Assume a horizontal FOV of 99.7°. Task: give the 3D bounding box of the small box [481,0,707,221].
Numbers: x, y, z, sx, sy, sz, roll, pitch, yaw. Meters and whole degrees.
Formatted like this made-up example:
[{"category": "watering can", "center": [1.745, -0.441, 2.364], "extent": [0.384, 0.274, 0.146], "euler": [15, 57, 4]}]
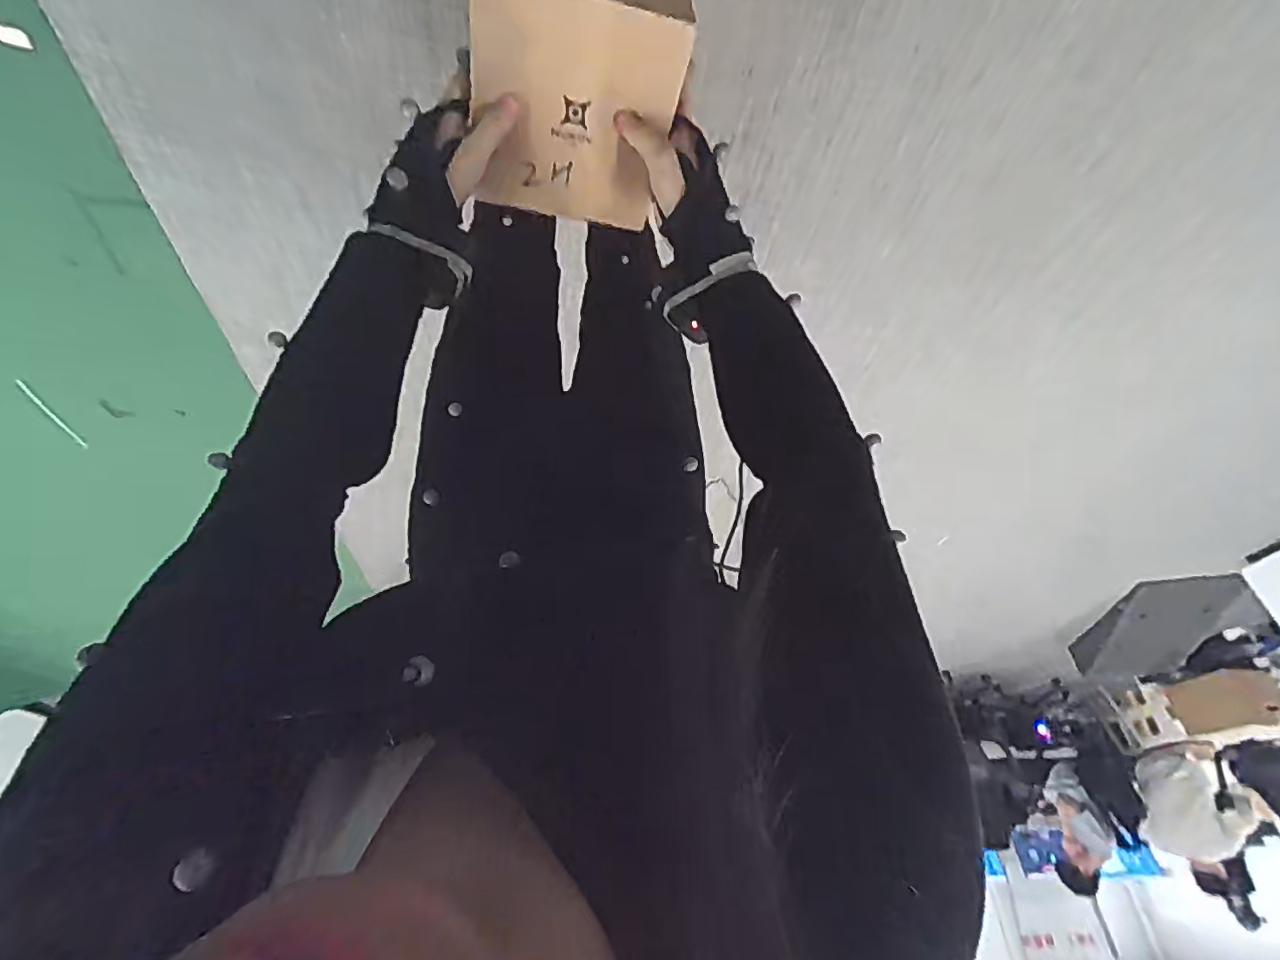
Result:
[{"category": "small box", "center": [-0.053, -0.382, 0.498], "extent": [0.168, 0.176, 0.179], "euler": [6, 149, -15]}]
